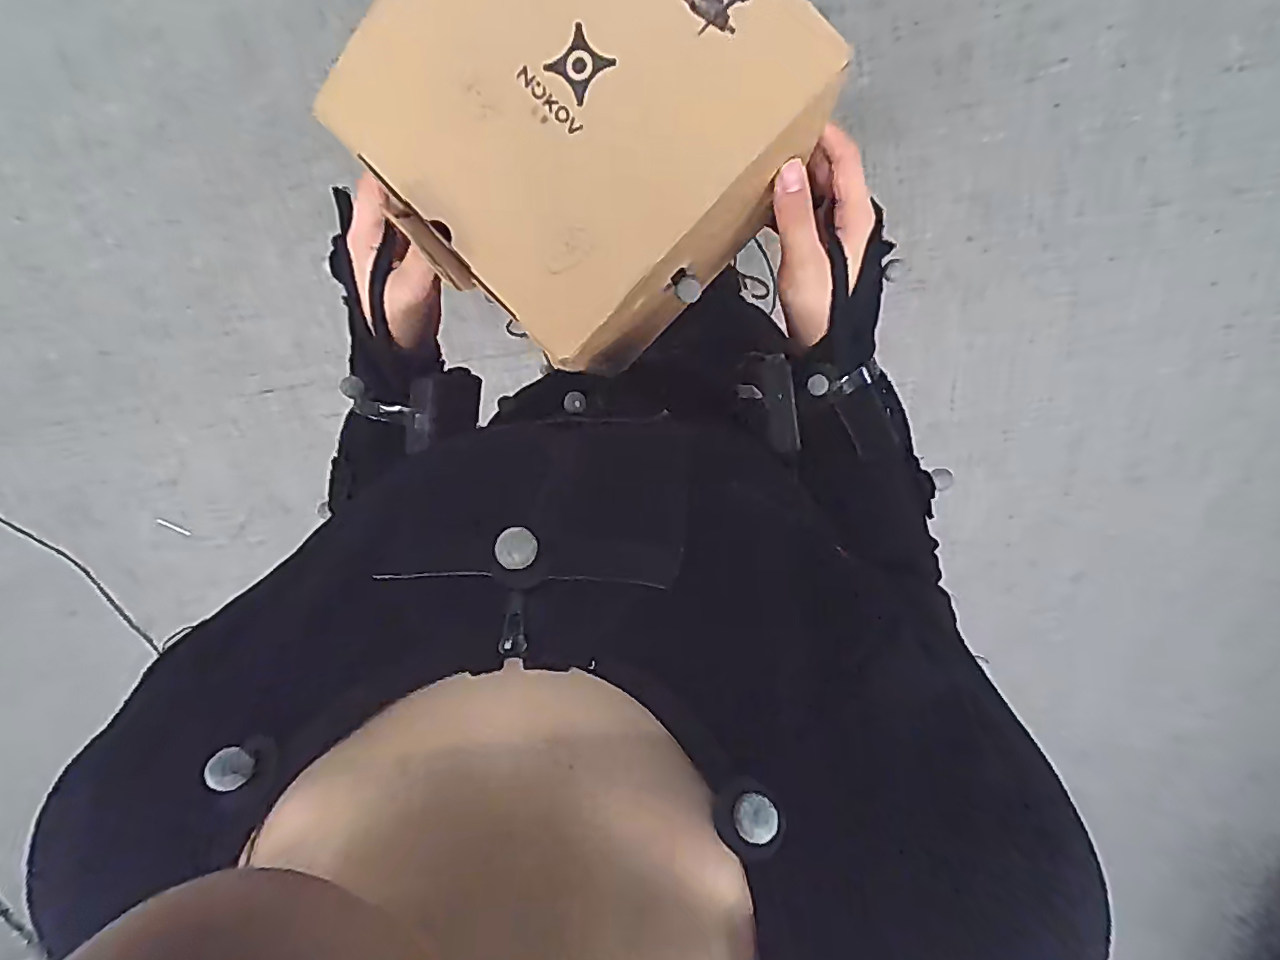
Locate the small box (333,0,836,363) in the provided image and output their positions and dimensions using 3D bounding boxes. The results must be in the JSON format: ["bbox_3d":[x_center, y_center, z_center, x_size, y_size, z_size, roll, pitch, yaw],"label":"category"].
[{"bbox_3d":[-0.021,-0.184,0.318,0.168,0.176,0.179,45,102,-2],"label":"small box"}]
